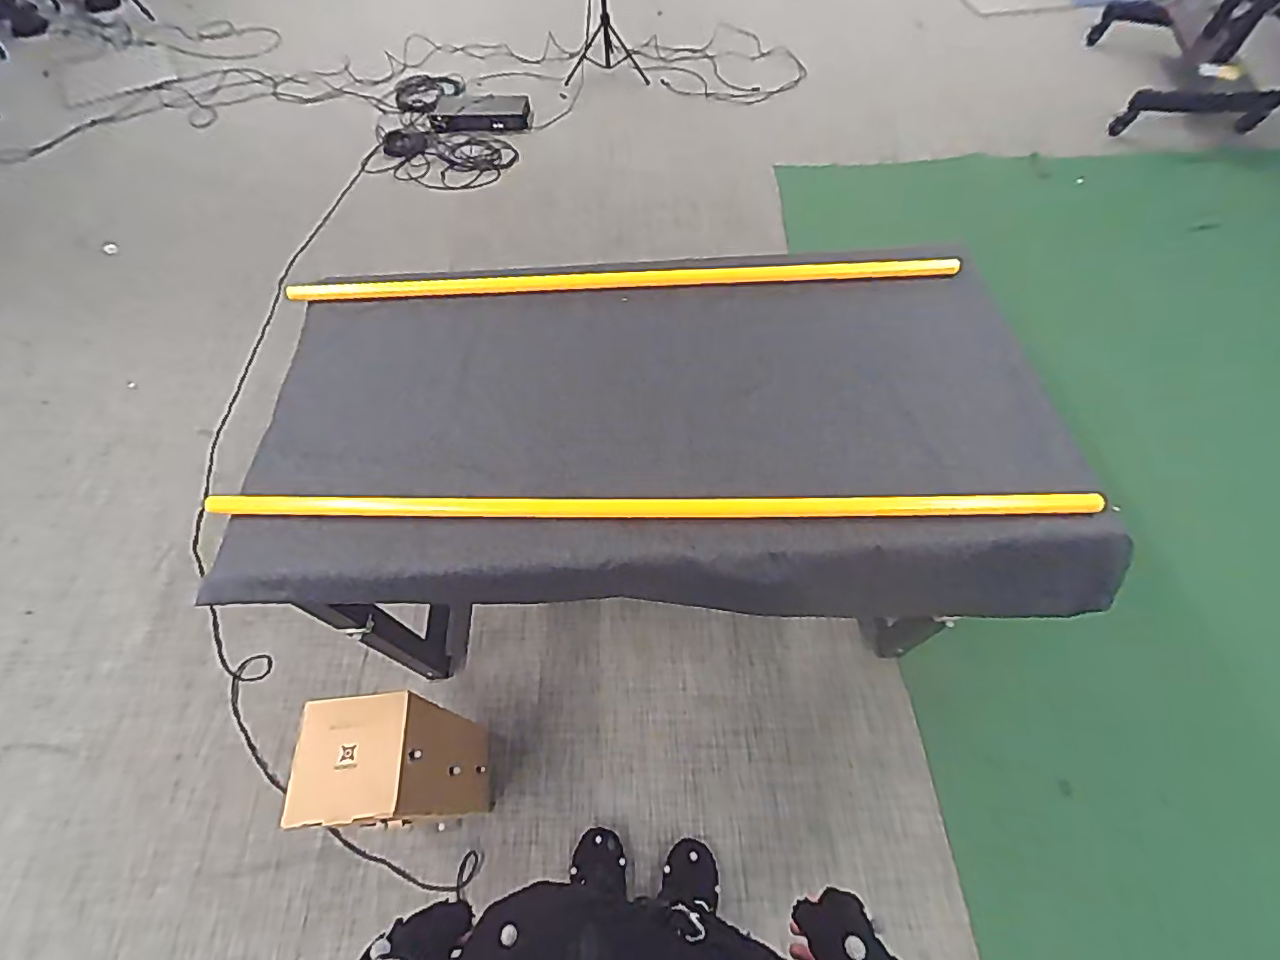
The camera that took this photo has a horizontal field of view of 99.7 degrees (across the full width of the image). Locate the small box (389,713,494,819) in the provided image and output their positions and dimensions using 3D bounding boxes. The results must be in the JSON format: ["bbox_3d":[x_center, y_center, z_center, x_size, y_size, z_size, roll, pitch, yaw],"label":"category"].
[{"bbox_3d":[-0.421,0.623,1.173,0.168,0.176,0.179,-9,60,-3],"label":"small box"}]
